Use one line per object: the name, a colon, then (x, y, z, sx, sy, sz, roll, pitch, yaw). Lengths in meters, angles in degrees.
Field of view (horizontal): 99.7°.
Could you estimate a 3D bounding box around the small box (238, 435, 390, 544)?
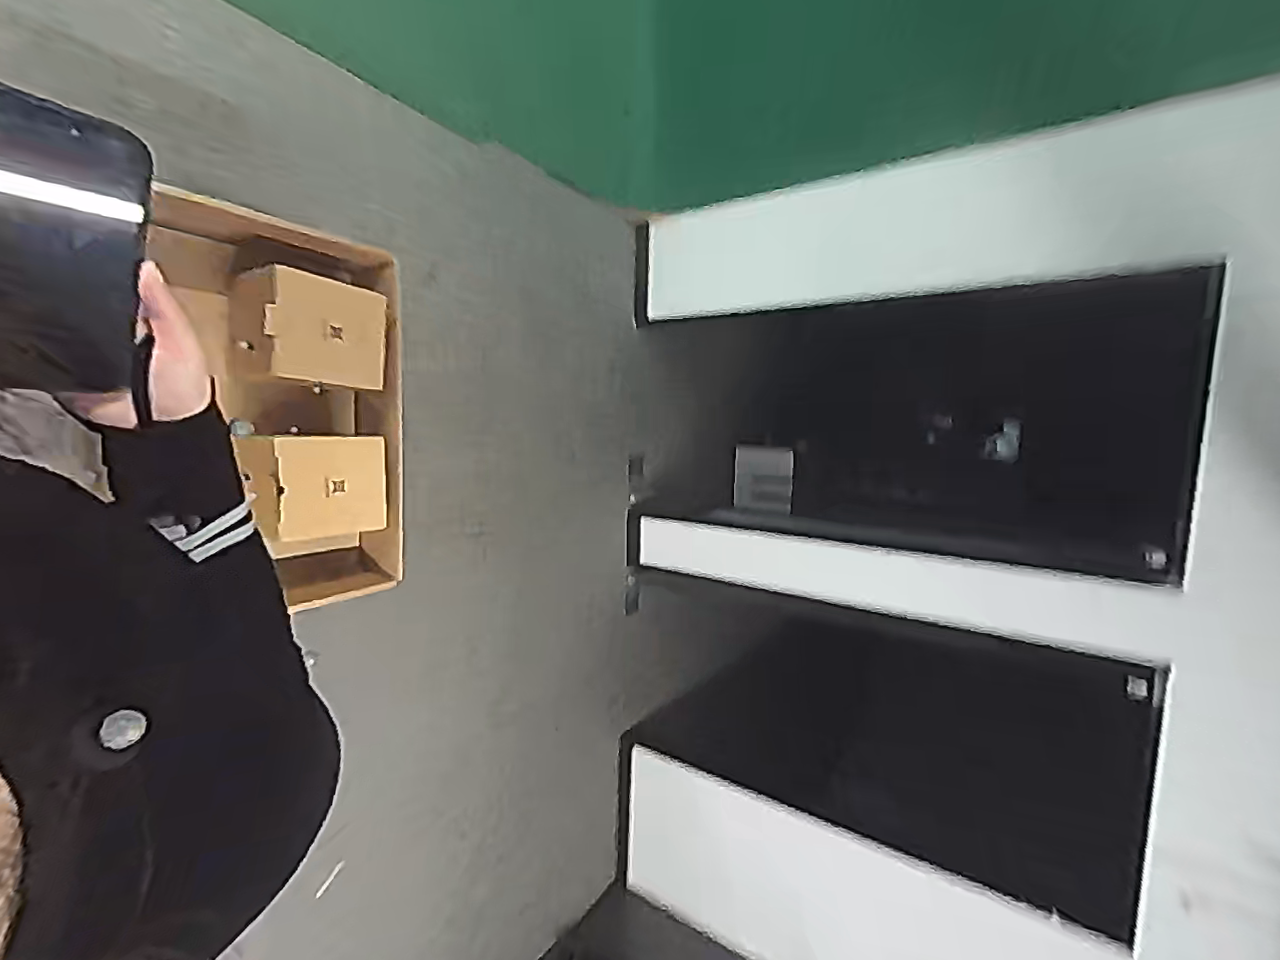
small box: (-0.562, 0.007, 0.938, 0.179, 0.176, 0.168, -6, 99, -55)
